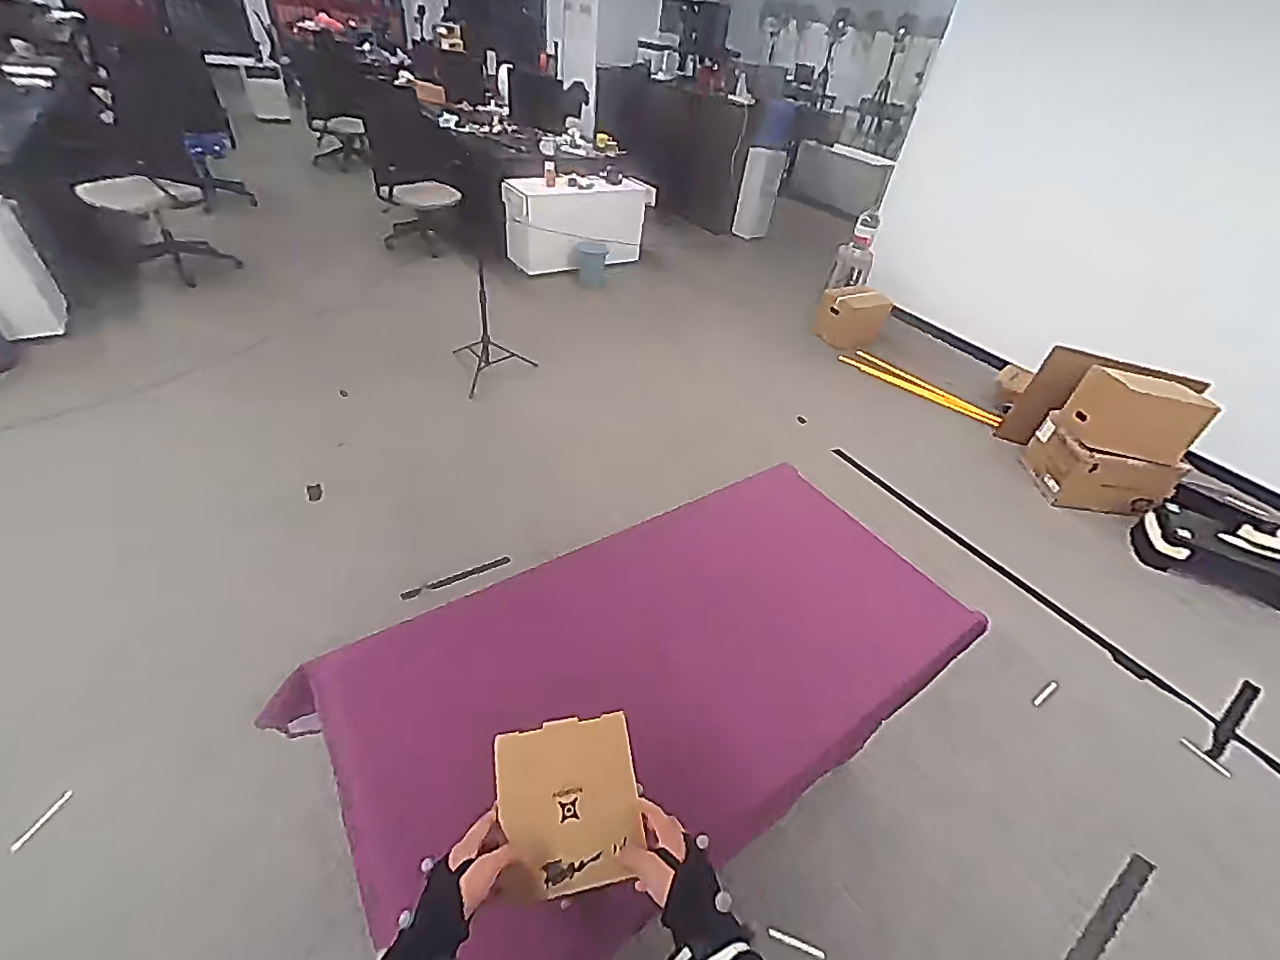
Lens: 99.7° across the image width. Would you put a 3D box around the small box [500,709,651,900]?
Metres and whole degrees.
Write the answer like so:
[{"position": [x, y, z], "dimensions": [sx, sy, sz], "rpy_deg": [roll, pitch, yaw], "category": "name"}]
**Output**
[{"position": [-0.089, 0.420, 0.709], "dimensions": [0.168, 0.176, 0.179], "rpy_deg": [-7, 58, -9], "category": "small box"}]
